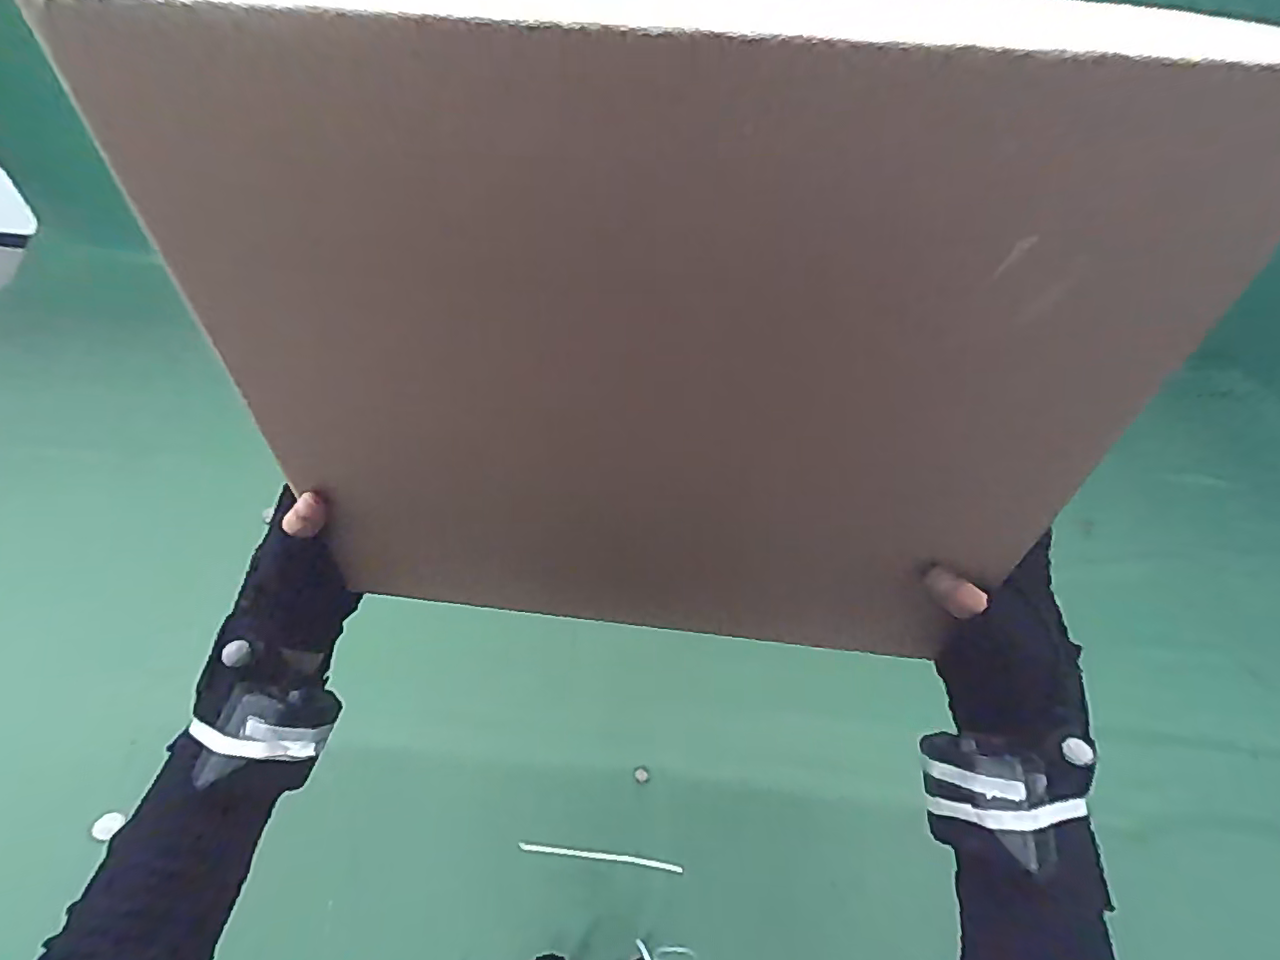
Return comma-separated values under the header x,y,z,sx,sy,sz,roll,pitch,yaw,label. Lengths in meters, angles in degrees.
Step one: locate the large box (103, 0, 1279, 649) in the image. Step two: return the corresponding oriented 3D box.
x,y,z,sx,sy,sz,roll,pitch,yaw,label
0.027,-0.114,0.375,0.408,0.320,0.320,7,43,2,large box
